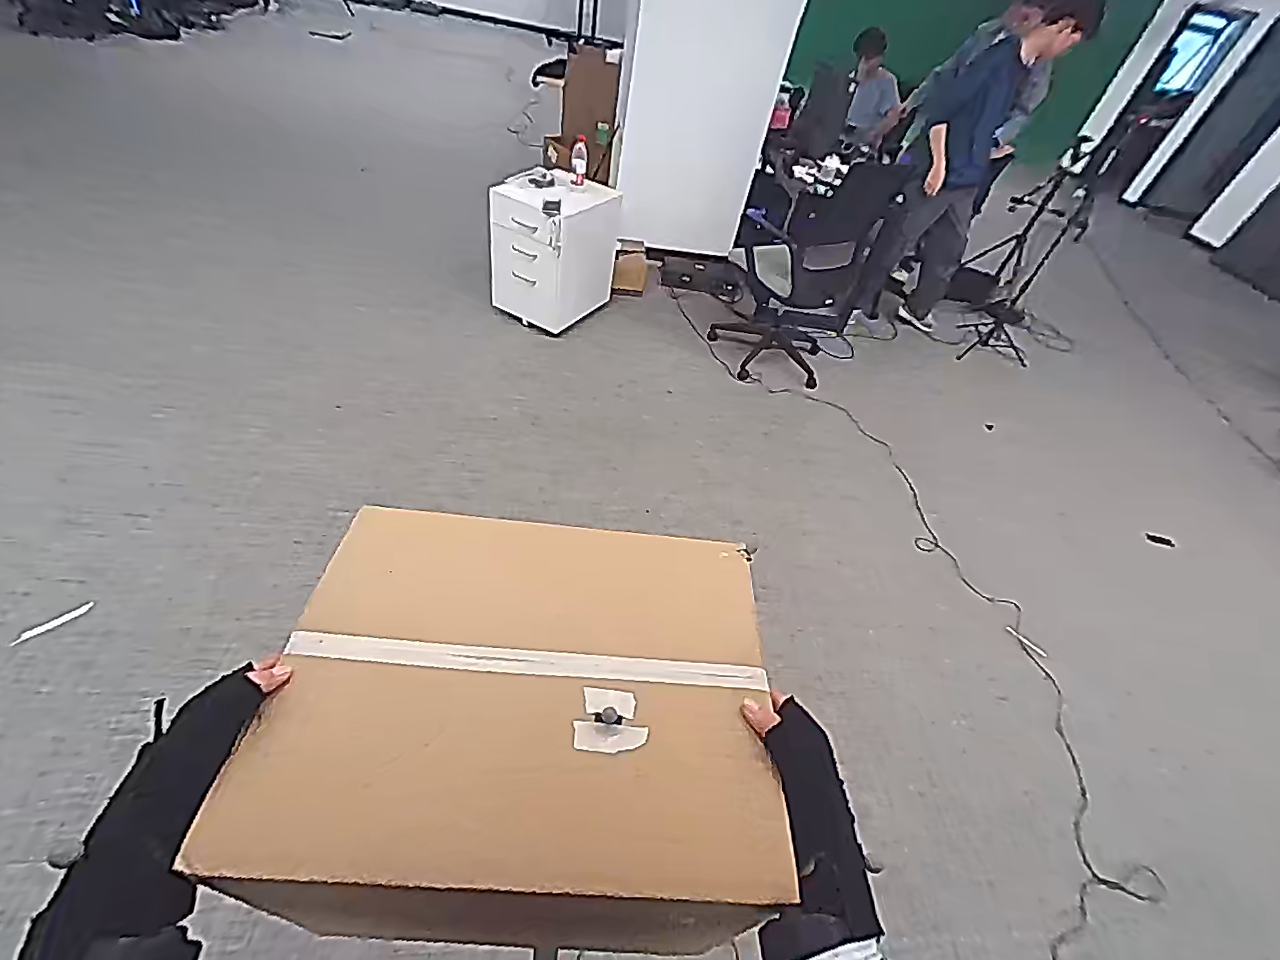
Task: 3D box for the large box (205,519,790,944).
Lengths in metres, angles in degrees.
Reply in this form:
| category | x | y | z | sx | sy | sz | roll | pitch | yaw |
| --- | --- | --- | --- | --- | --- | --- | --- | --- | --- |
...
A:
| category | x | y | z | sx | sy | sz | roll | pitch | yaw |
| --- | --- | --- | --- | --- | --- | --- | --- | --- | --- |
| large box | -0.107 | 0.271 | 0.574 | 0.408 | 0.320 | 0.320 | 7 | 45 | -4 |
